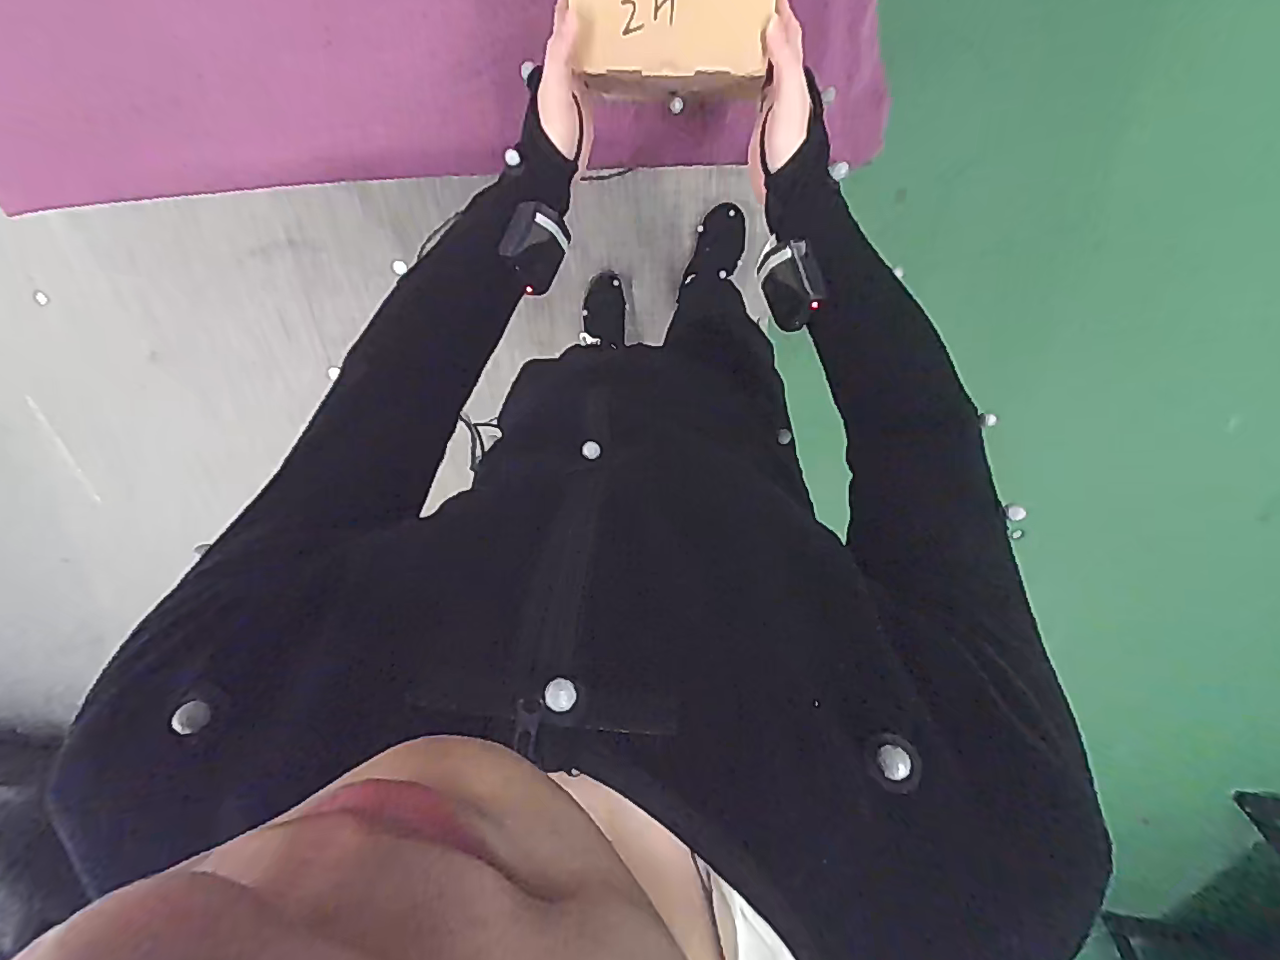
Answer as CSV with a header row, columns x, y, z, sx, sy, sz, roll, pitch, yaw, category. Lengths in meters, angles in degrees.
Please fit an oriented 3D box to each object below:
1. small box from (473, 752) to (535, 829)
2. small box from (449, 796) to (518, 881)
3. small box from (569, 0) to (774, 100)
x,y,z,sx,sy,sz,roll,pitch,yaw,category
-0.475,1.087,1.903,0.168,0.176,0.179,5,122,5,small box
-0.502,1.162,1.761,0.168,0.176,0.179,8,122,4,small box
0.034,-0.454,0.476,0.168,0.176,0.179,5,120,6,small box
